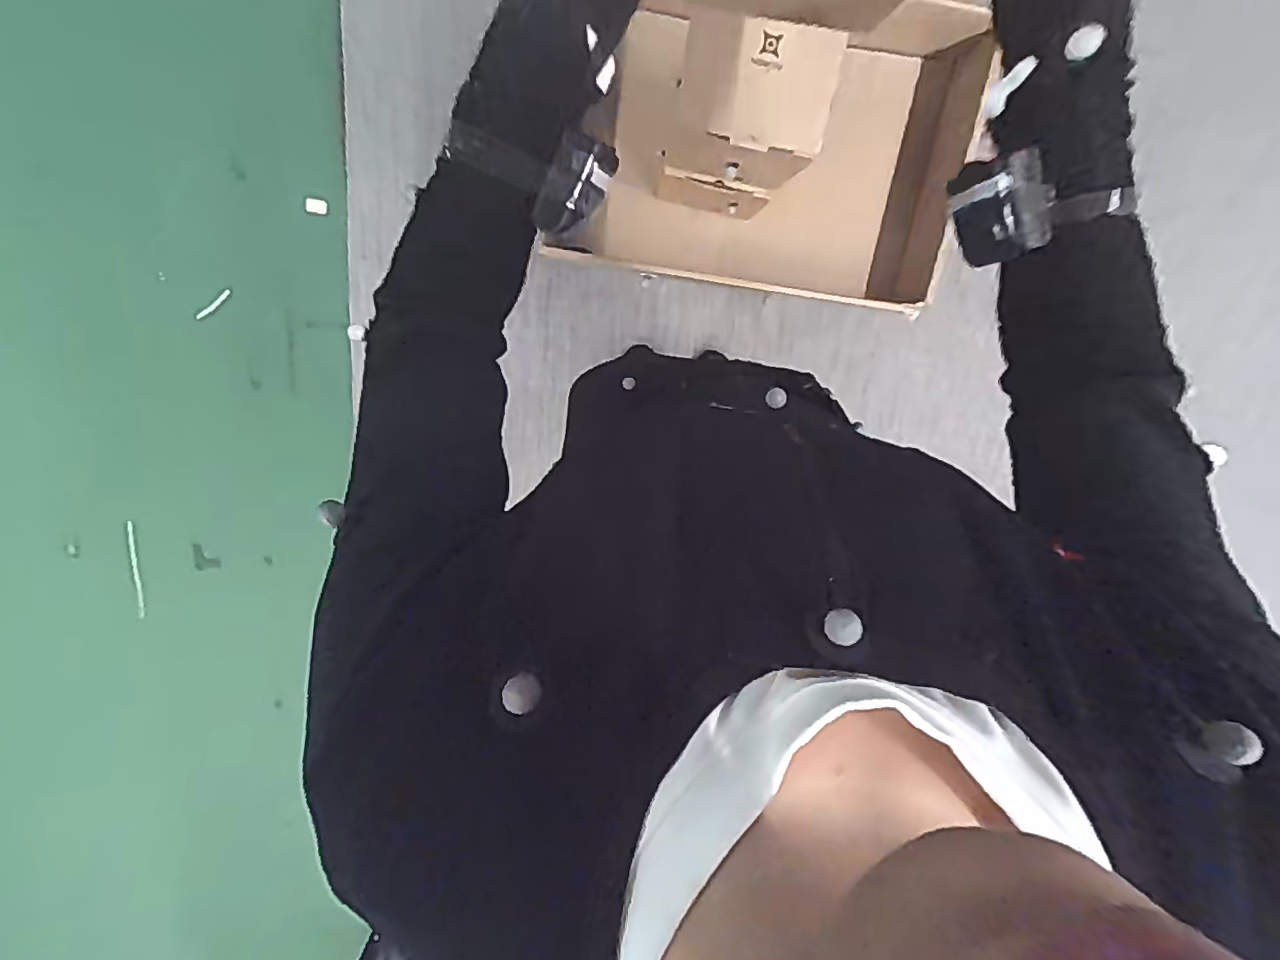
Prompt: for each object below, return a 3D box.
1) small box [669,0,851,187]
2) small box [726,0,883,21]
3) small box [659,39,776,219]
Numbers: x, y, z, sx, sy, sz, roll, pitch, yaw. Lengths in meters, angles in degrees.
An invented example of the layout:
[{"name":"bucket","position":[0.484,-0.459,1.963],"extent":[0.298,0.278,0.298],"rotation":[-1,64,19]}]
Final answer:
[{"name":"small box","position":[0.134,-0.481,0.663],"extent":[0.168,0.176,0.179],"rotation":[10,107,-5]},{"name":"small box","position":[0.121,-0.432,0.341],"extent":[0.179,0.176,0.168],"rotation":[6,110,-4]},{"name":"small box","position":[0.125,-0.517,0.824],"extent":[0.168,0.176,0.179],"rotation":[10,104,-5]}]
